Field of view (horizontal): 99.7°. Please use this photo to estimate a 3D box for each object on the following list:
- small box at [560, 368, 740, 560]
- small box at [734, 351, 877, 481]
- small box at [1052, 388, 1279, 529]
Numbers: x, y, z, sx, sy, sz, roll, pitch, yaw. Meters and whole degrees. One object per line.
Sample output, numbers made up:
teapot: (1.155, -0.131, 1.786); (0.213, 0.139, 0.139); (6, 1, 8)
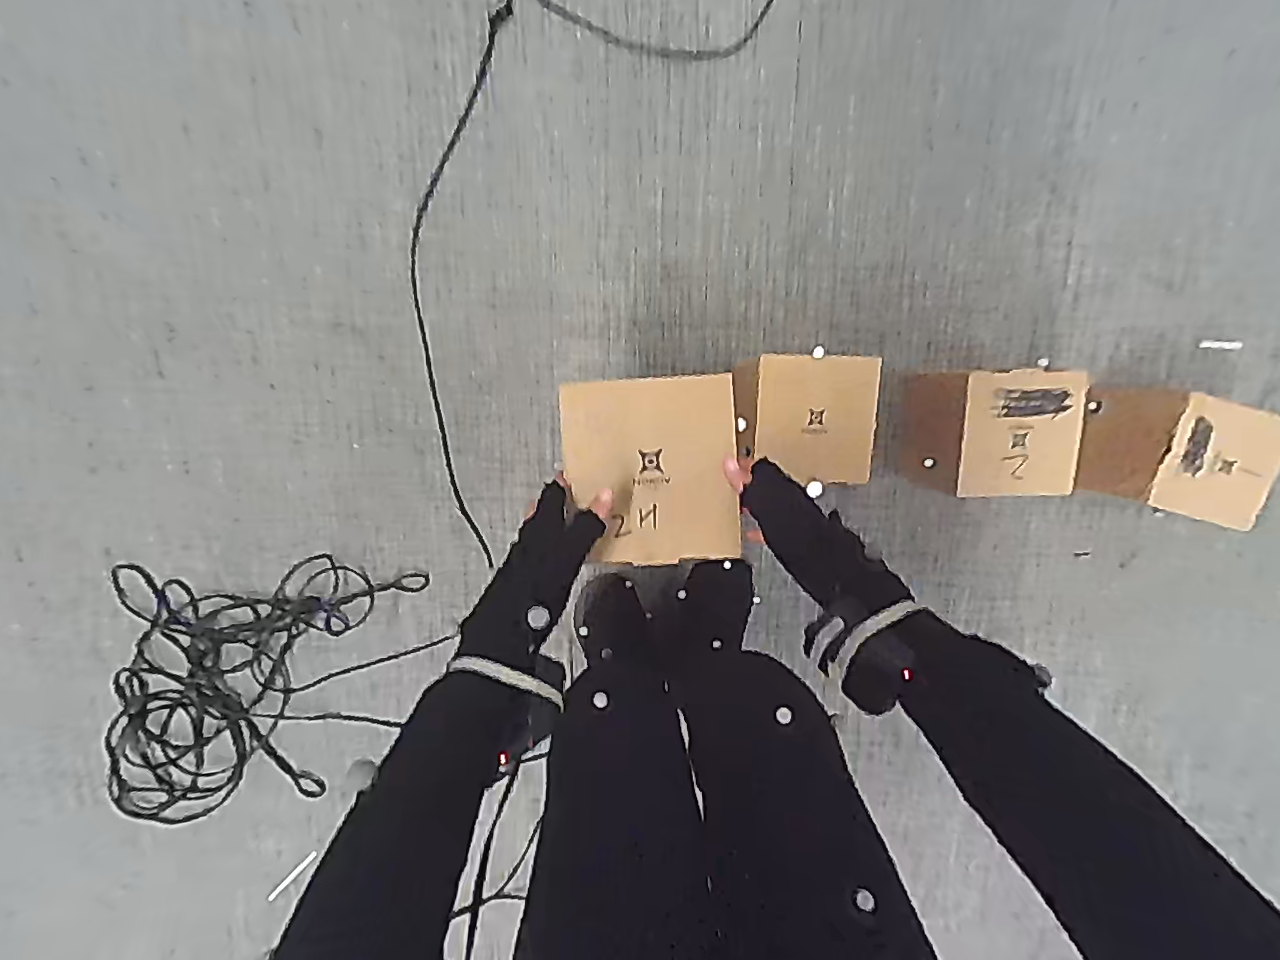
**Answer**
small box: (0.011, -0.016, 0.582); (0.168, 0.176, 0.179); (-3, 92, 2)
small box: (0.235, -0.099, 0.817); (0.168, 0.176, 0.179); (1, 101, -1)
small box: (0.802, -0.041, 0.841); (0.179, 0.176, 0.168); (15, 100, -5)
